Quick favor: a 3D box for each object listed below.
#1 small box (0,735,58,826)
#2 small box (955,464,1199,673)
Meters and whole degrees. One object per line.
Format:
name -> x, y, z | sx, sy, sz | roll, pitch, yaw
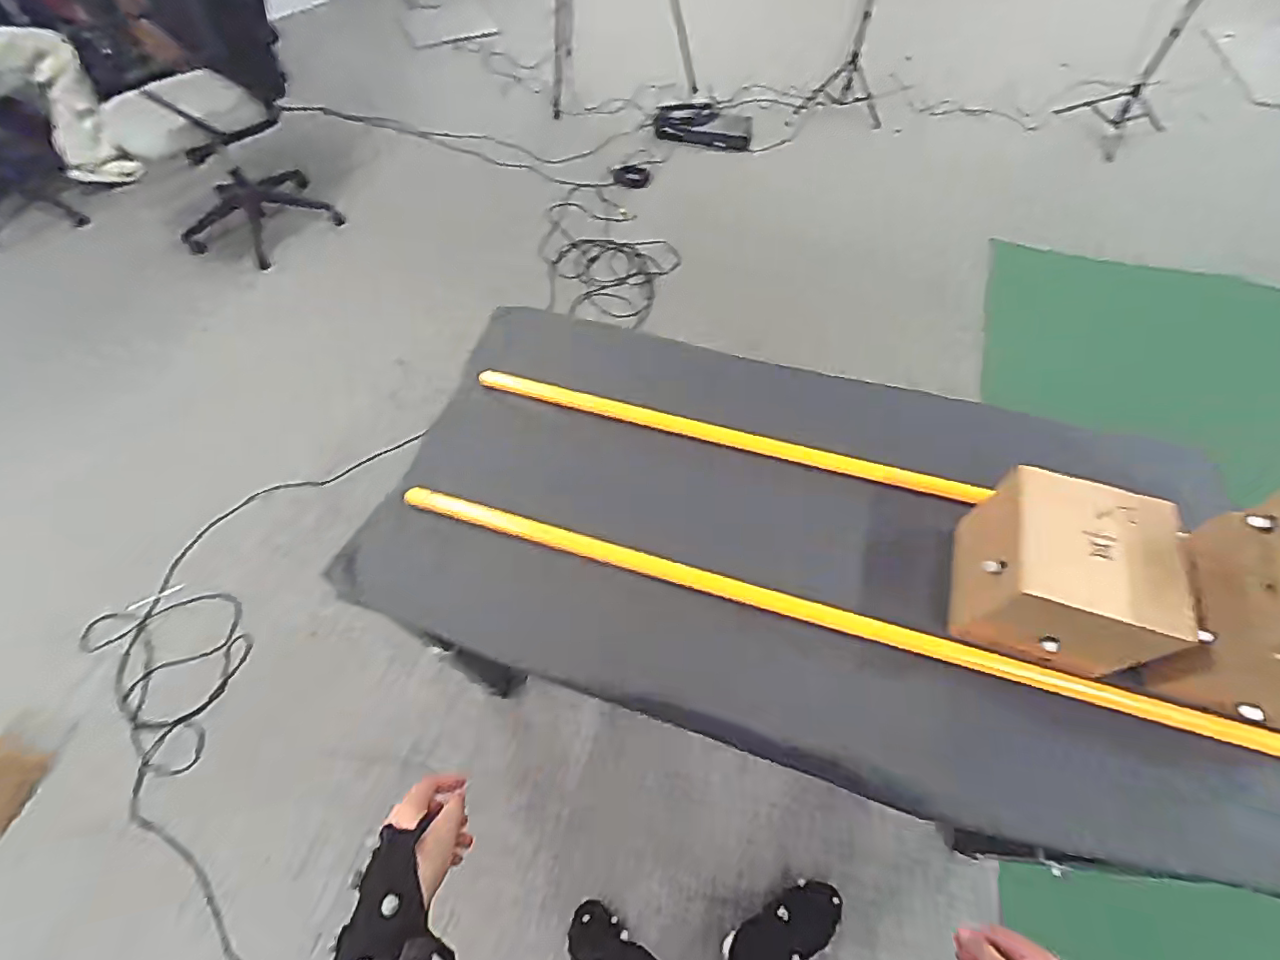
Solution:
small box -> -1.499, 0.672, 1.210 | 0.179, 0.176, 0.168 | 12, 60, 9
small box -> 0.510, 0.114, 0.661 | 0.168, 0.176, 0.179 | 17, 60, 11
